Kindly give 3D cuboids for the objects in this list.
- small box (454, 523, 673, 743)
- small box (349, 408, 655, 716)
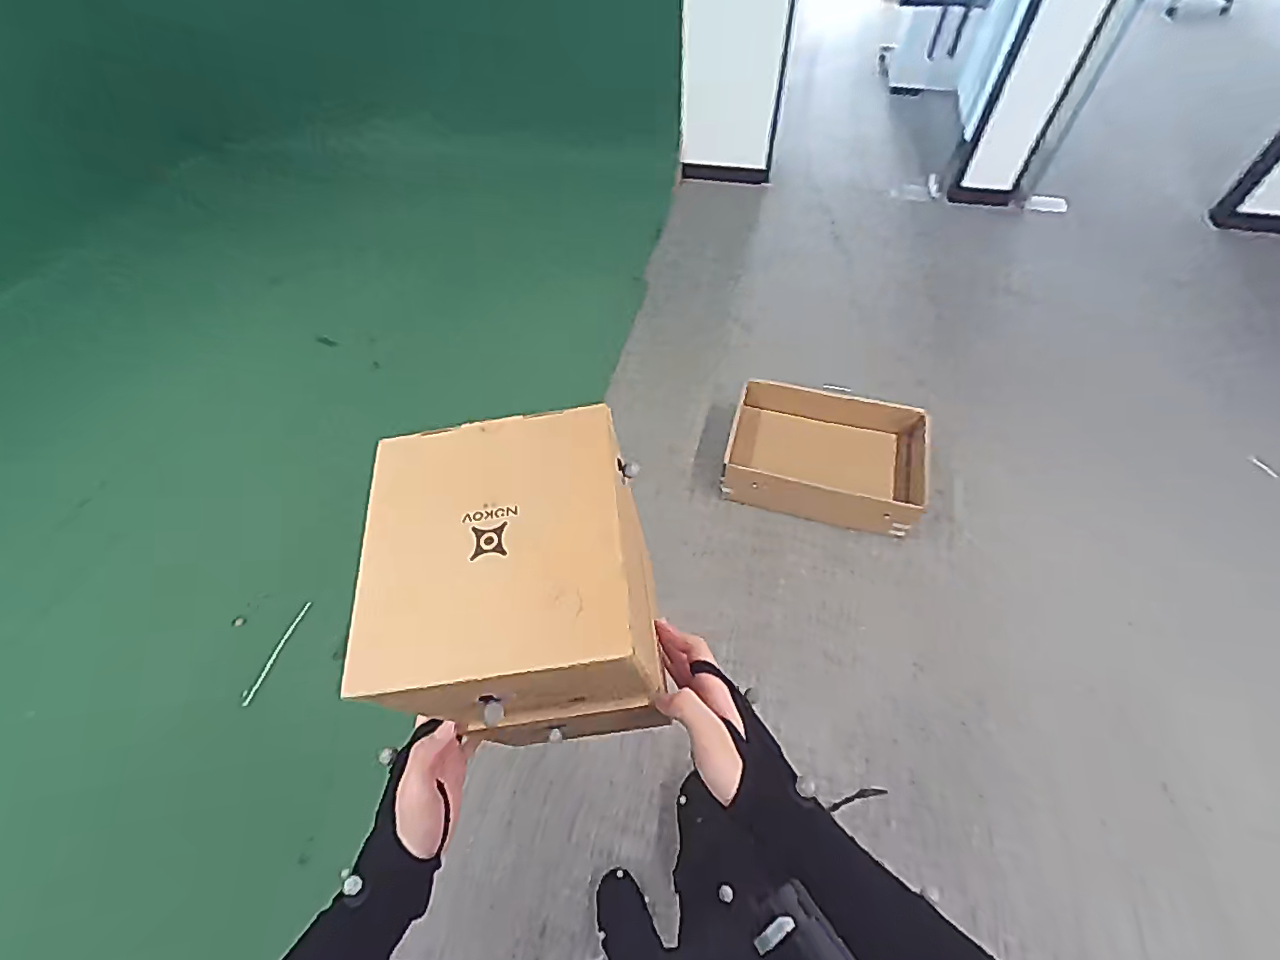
[{"bbox_3d":[-0.065,0.162,0.547,0.179,0.176,0.168,-8,59,2],"label":"small box"},{"bbox_3d":[-0.084,0.074,0.412,0.168,0.176,0.179,-9,59,3],"label":"small box"}]
